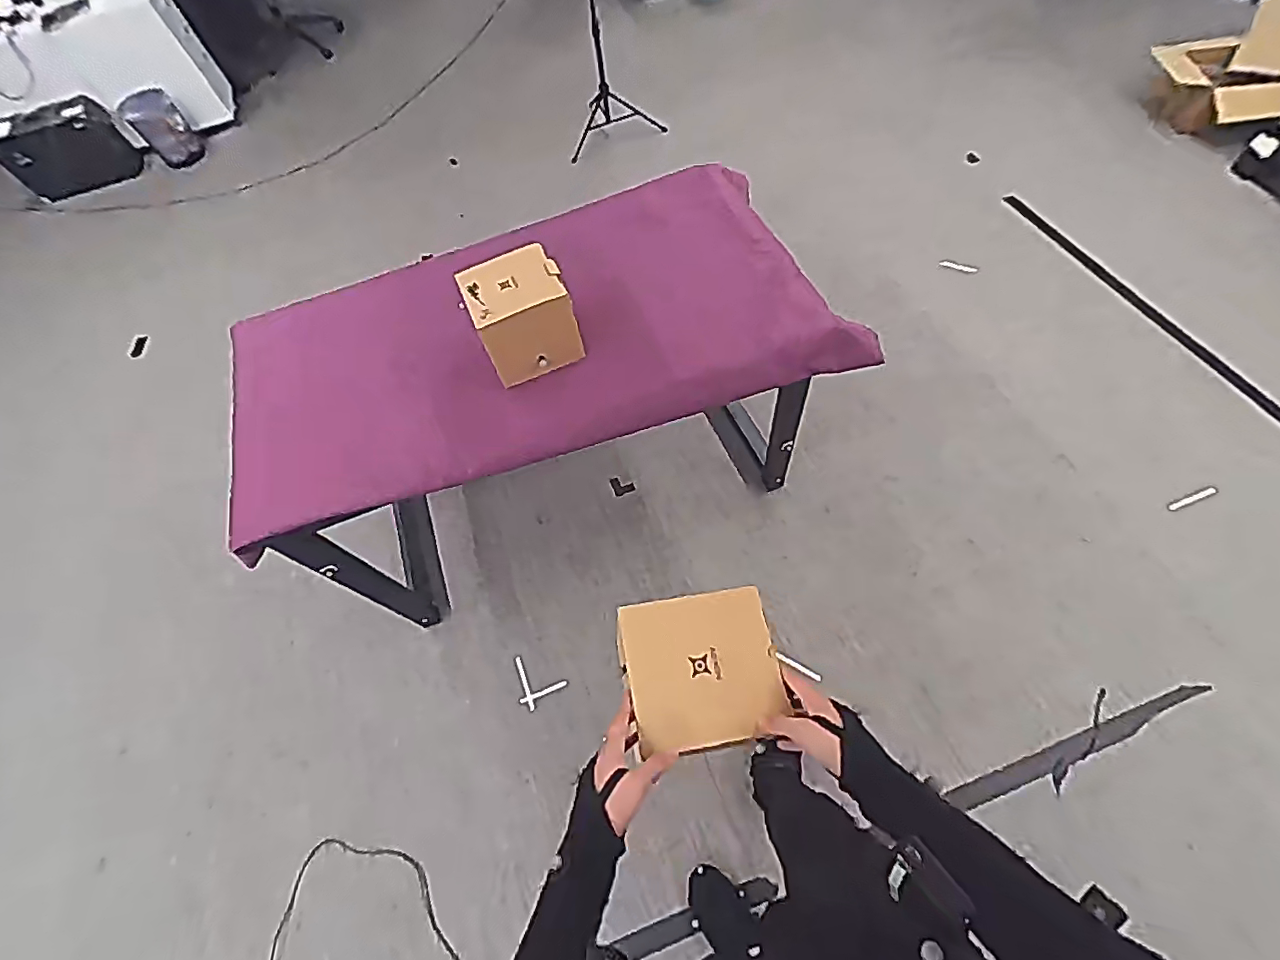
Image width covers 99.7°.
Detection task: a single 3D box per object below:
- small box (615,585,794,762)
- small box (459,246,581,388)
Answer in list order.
[{"bbox_3d":[0.066,0.248,0.680,0.179,0.176,0.168,-7,61,-8],"label":"small box"},{"bbox_3d":[-0.225,-0.314,1.057,0.179,0.176,0.168,-23,60,-7],"label":"small box"}]
